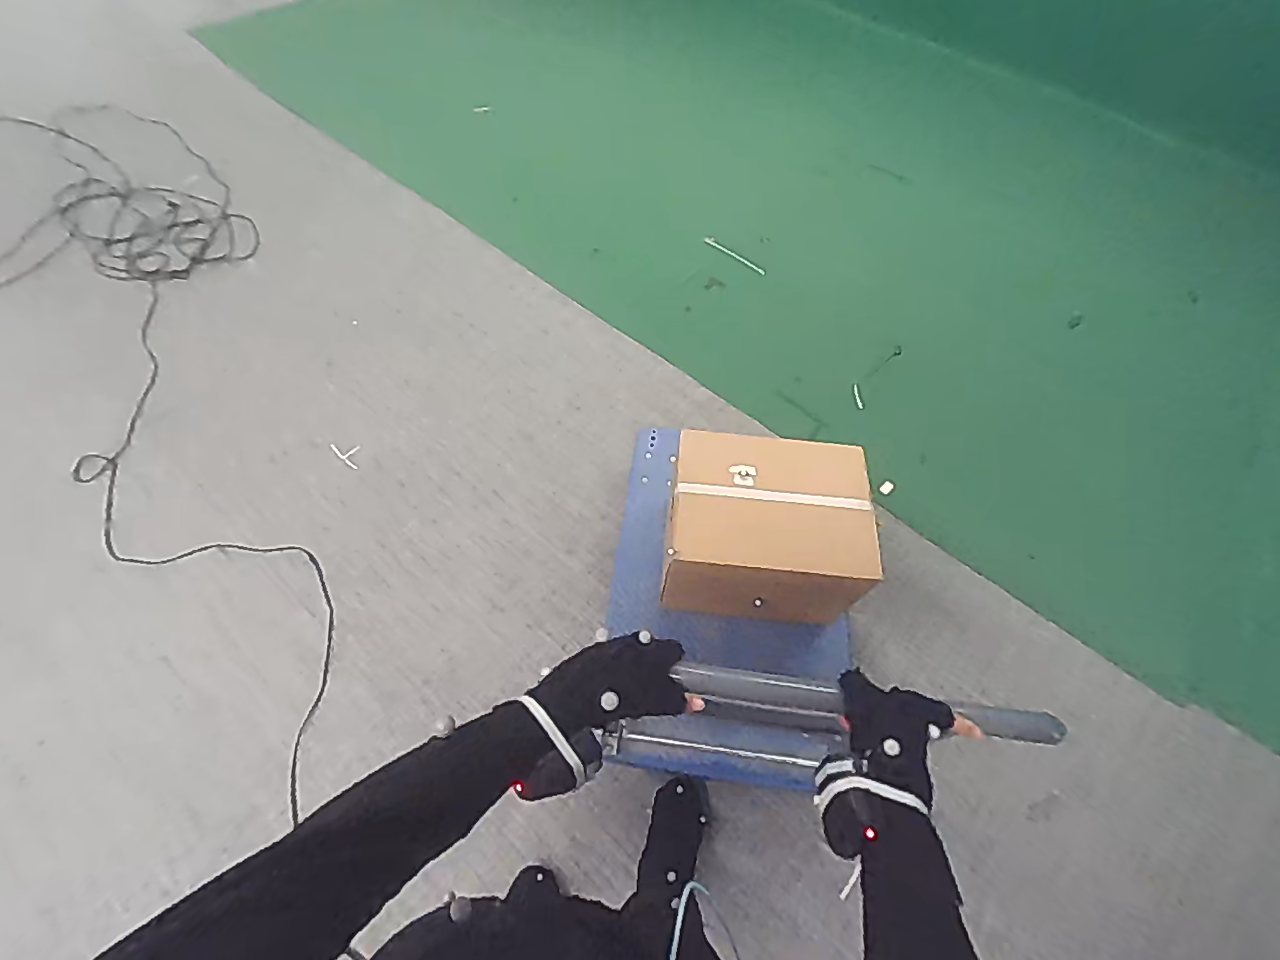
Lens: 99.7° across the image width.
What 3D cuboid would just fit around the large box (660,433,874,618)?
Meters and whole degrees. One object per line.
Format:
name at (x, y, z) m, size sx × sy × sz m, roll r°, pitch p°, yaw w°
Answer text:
large box at (0.263, 0.116, 1.248) m, size 0.408 × 0.320 × 0.320 m, roll 5°, pitch 59°, yaw 0°
